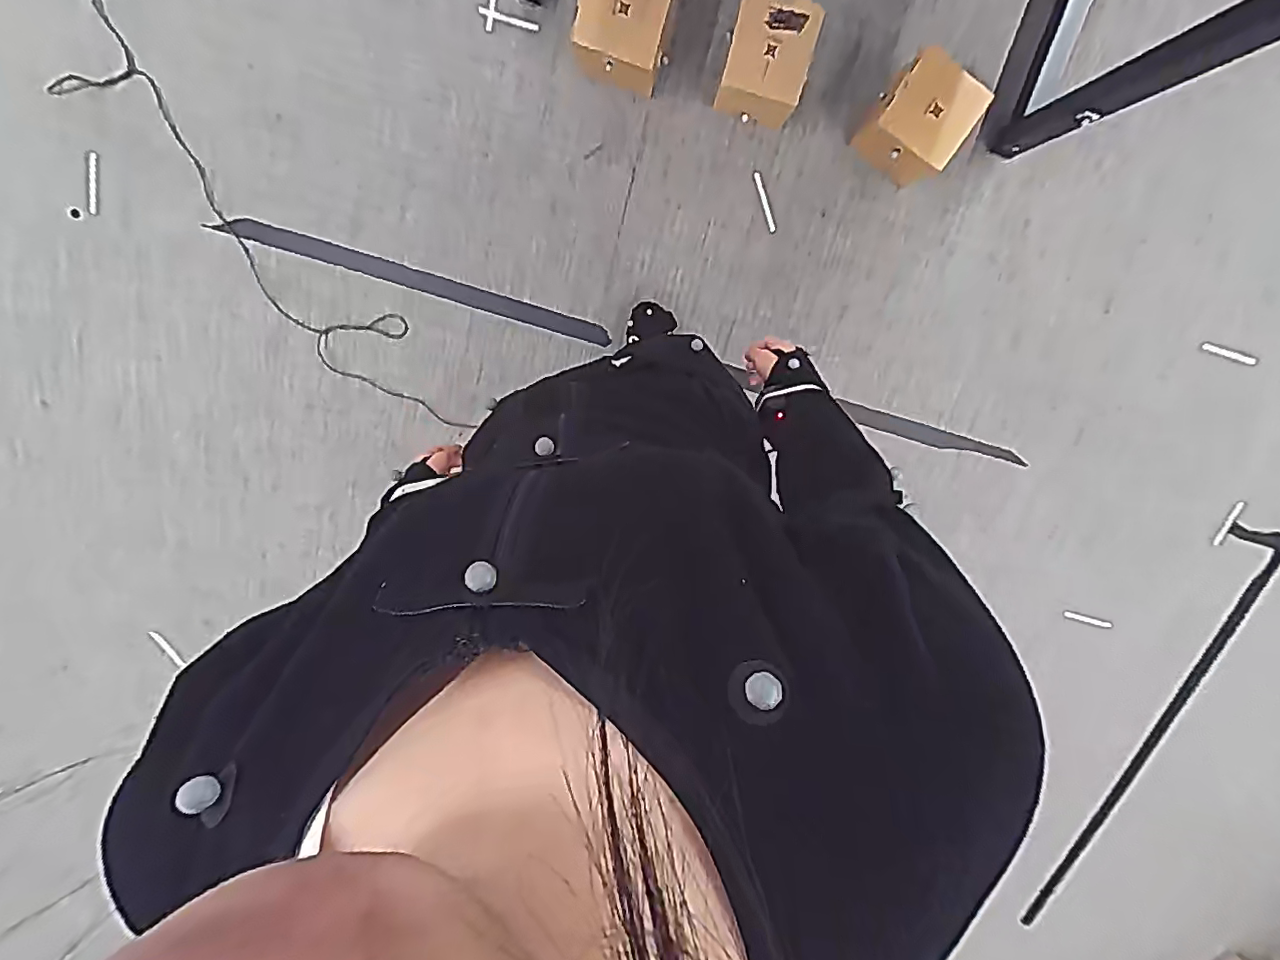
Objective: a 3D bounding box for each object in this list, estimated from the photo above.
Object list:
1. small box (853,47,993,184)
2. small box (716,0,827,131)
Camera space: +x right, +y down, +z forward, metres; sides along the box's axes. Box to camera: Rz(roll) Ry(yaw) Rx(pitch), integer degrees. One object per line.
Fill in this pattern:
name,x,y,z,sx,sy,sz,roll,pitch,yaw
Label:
small box,0.606,-0.779,1.182,0.179,0.176,0.168,32,105,-7
small box,0.267,-0.885,1.152,0.168,0.176,0.179,14,108,-3
